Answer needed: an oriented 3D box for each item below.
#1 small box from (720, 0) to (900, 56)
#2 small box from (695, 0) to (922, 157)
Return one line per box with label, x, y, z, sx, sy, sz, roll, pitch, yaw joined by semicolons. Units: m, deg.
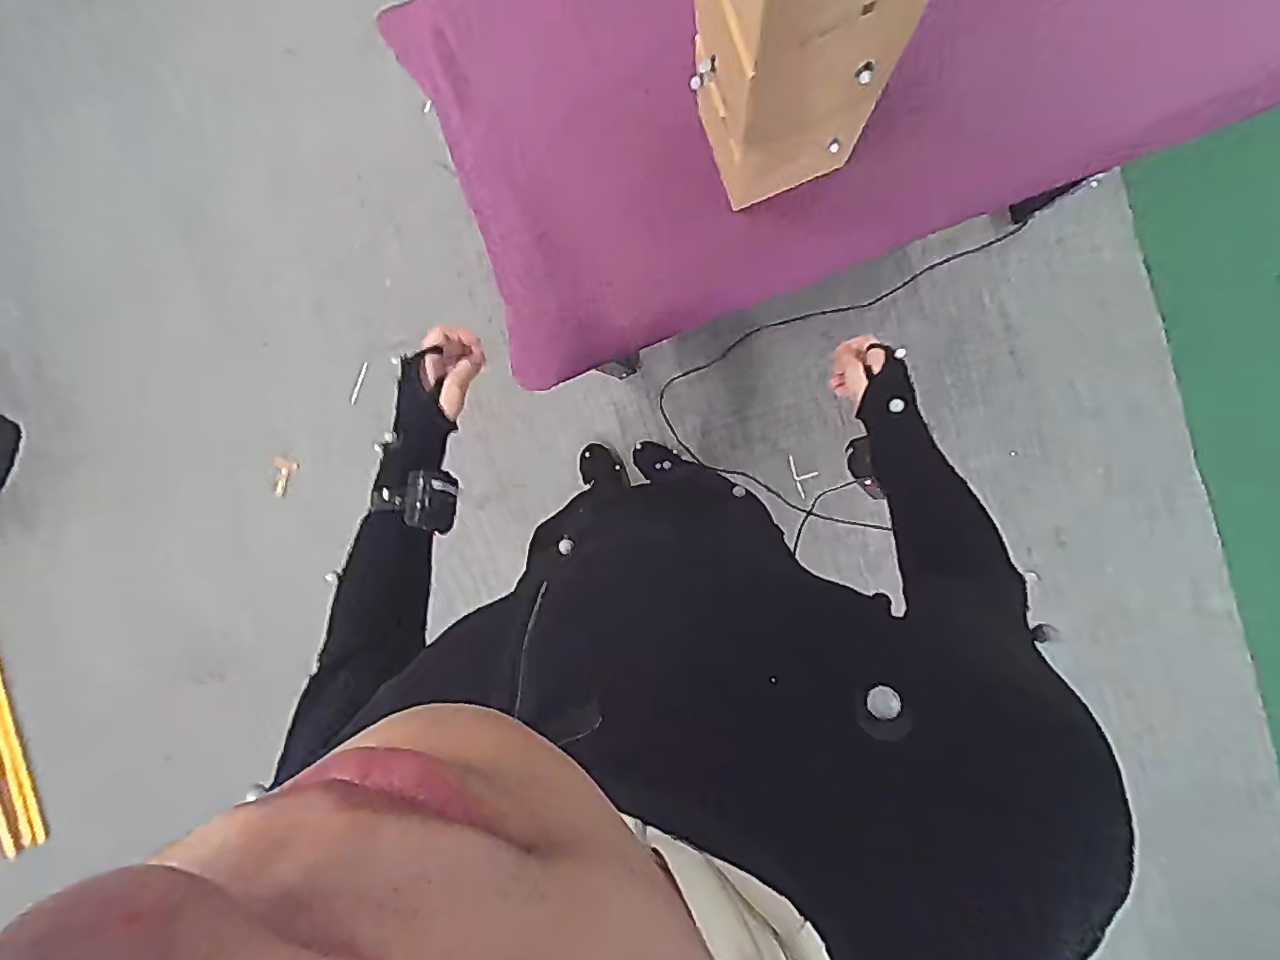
small box;0.139;-0.483;0.419;0.168;0.176;0.179;-21;93;8
small box;0.162;-0.493;0.579;0.179;0.176;0.168;-19;93;9
